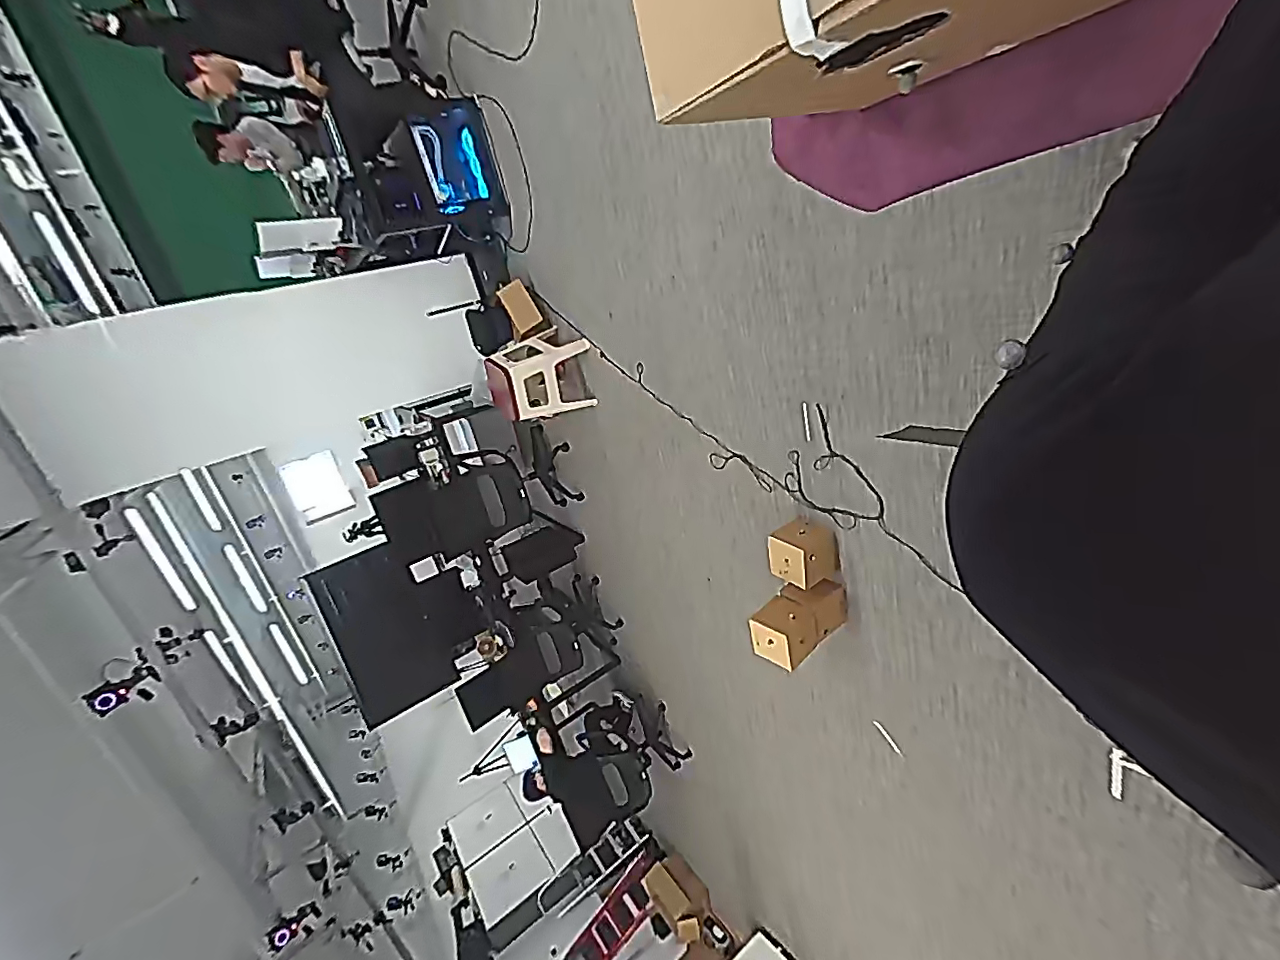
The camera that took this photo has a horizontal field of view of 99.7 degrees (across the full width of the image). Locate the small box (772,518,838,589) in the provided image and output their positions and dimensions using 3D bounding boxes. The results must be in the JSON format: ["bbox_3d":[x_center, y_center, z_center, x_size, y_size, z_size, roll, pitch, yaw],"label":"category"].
[{"bbox_3d":[0.608,0.262,1.983,0.168,0.176,0.179,25,134,52],"label":"small box"}]
